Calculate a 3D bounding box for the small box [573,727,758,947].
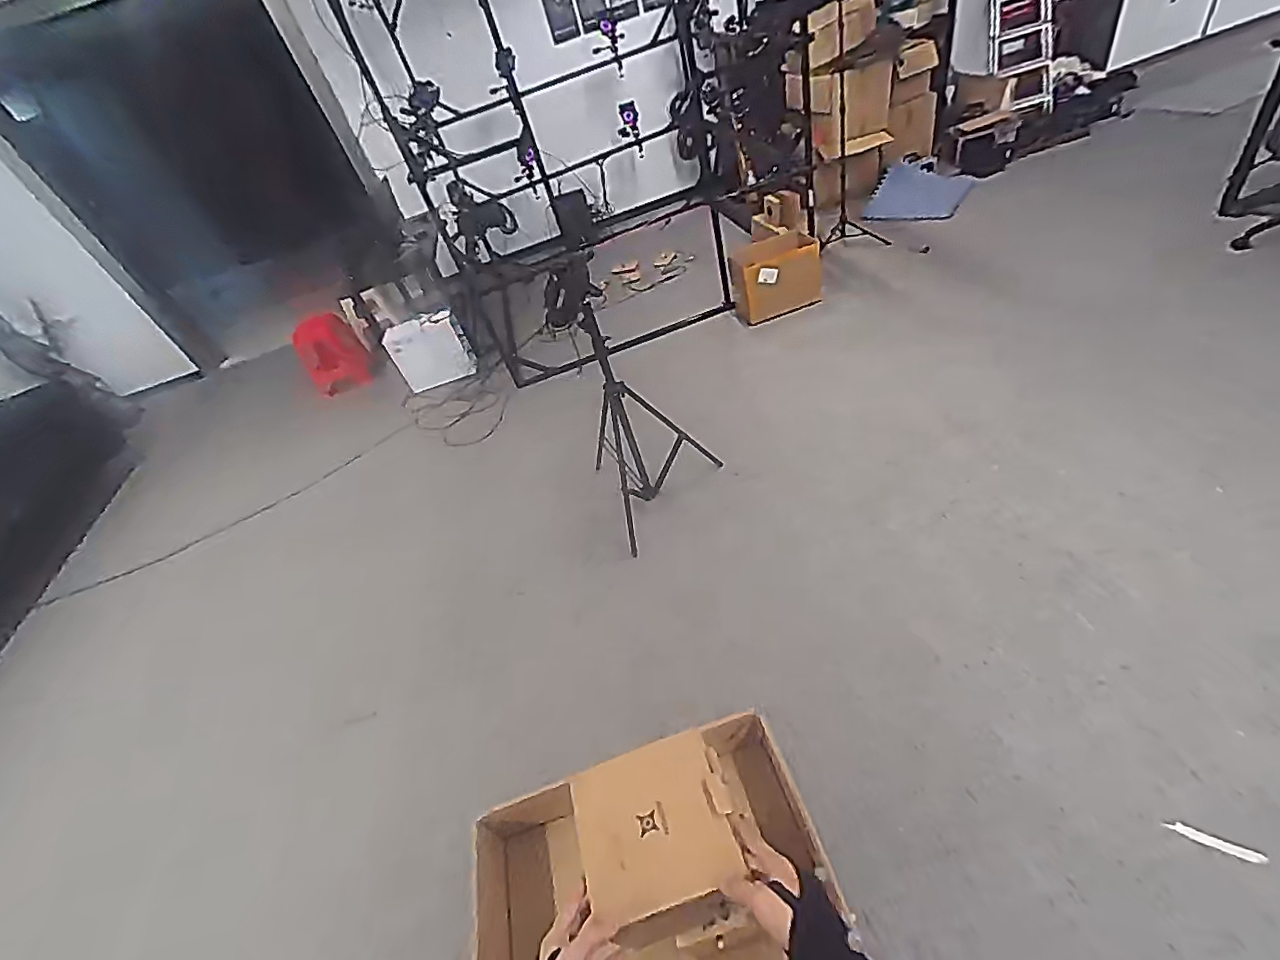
[{"bbox_3d":[0.036,0.440,0.666,0.179,0.176,0.168,-21,43,-1],"label":"small box"}]
